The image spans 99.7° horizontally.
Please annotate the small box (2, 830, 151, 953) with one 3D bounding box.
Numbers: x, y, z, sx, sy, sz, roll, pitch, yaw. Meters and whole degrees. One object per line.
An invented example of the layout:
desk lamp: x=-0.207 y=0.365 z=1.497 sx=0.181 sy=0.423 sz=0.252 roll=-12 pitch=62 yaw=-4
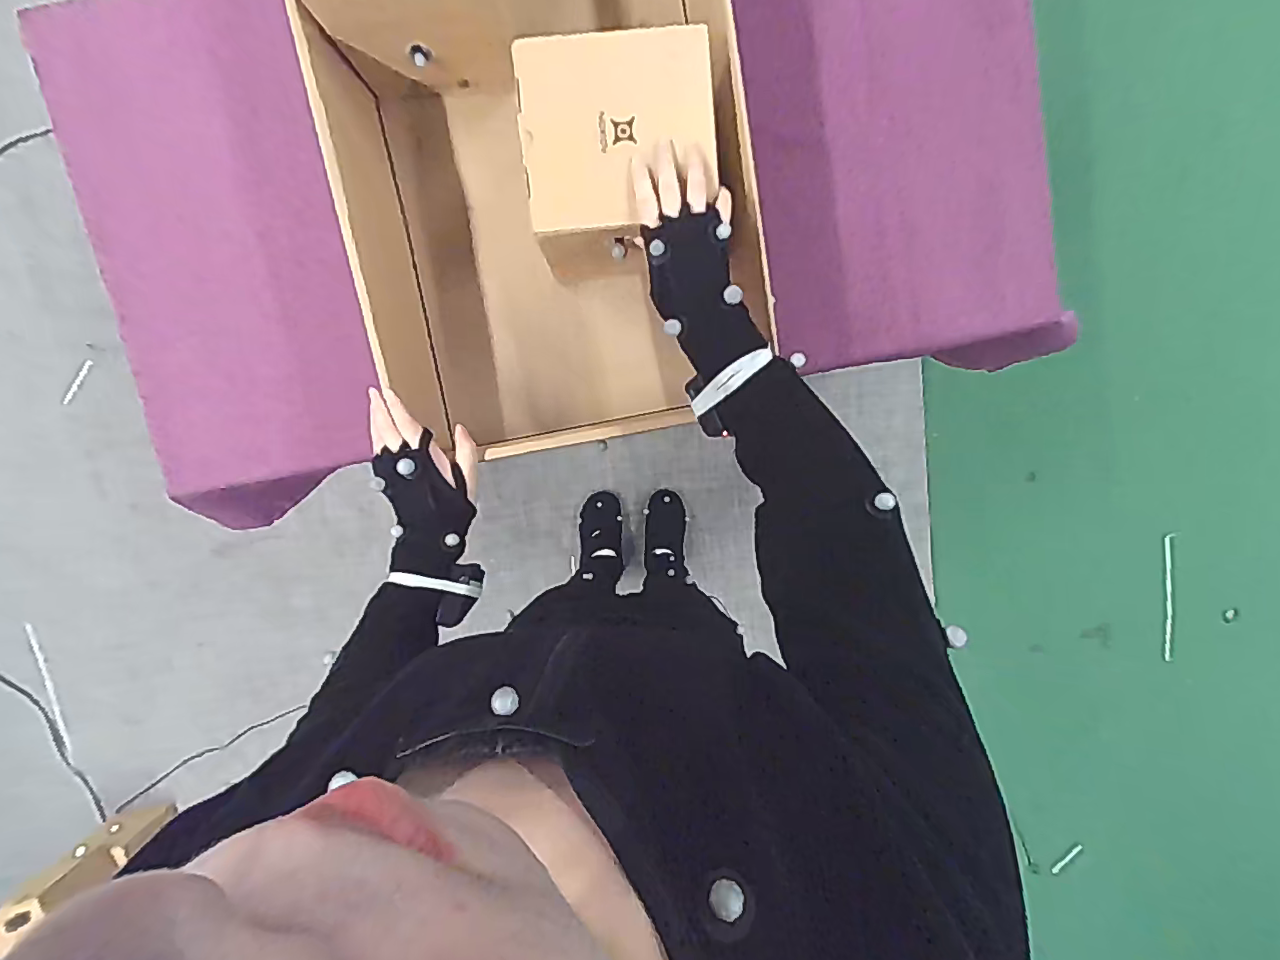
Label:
small box: x=-1.437 y=1.044 z=1.391 sx=0.168 sy=0.176 sz=0.179 roll=-21 pitch=98 yaw=4
